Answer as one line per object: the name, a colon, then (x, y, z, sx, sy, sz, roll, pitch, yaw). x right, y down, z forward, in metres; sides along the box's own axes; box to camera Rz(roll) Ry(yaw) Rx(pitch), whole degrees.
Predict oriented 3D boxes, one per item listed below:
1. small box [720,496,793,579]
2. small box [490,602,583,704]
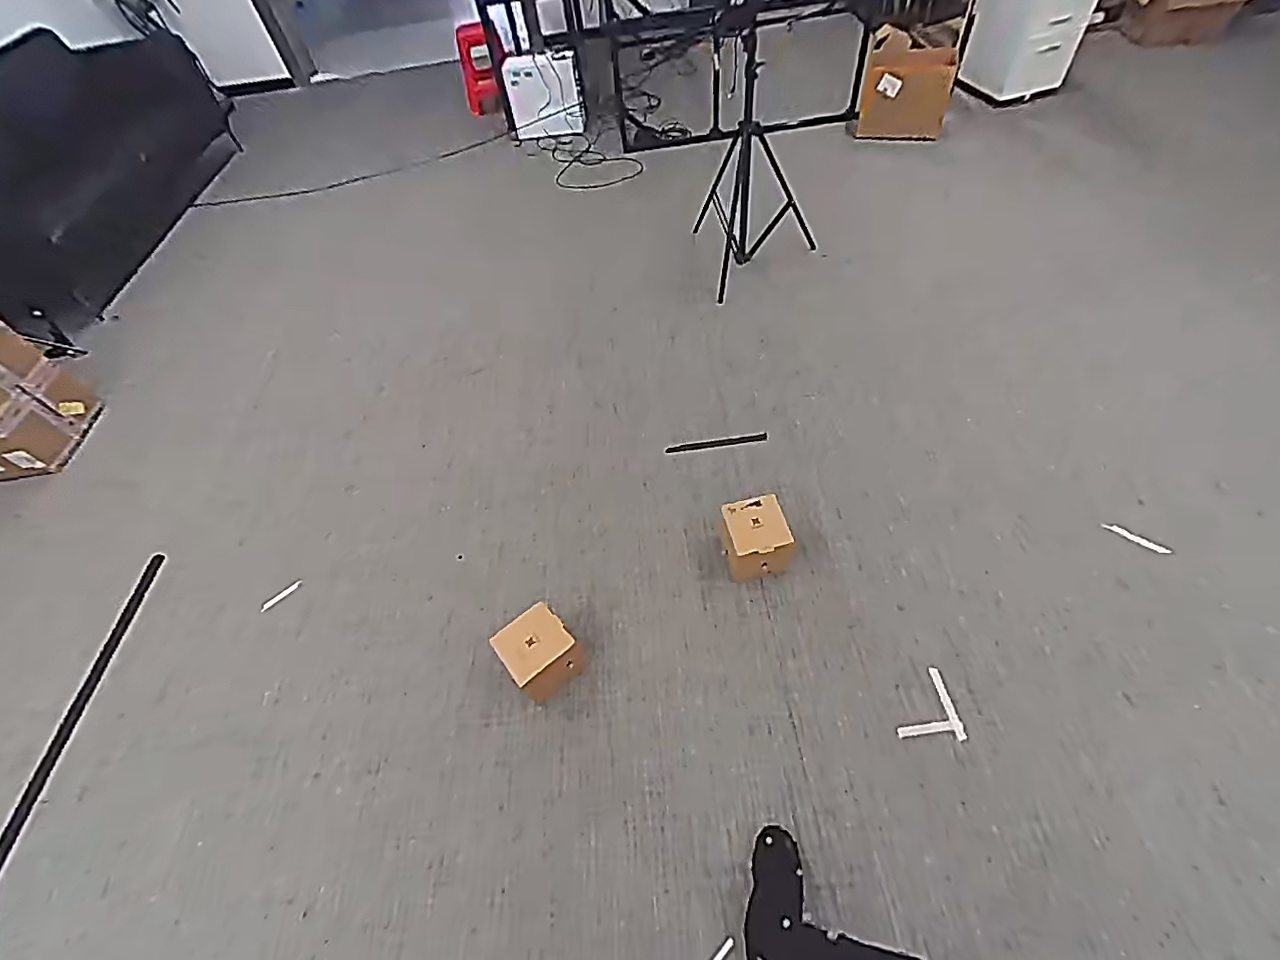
small box: (0.337, 0.177, 1.593, 0.168, 0.176, 0.179, -12, 54, -2)
small box: (-0.270, 0.469, 1.460, 0.179, 0.176, 0.168, -37, 56, -18)
